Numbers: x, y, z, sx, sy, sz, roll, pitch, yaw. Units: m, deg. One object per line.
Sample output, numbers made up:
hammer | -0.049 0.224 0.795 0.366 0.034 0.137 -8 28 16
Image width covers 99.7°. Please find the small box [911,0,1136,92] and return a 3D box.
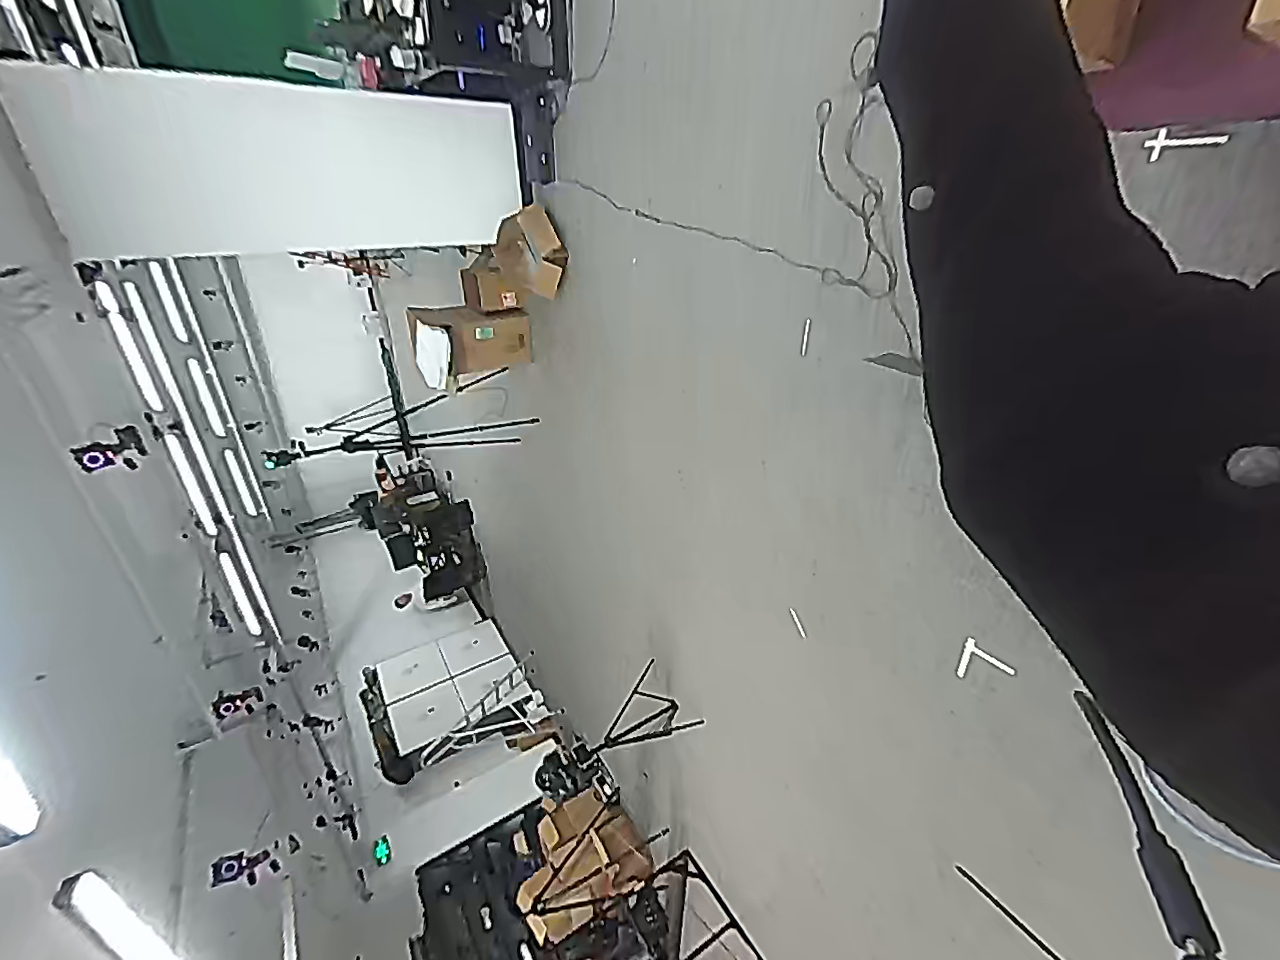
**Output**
small box | 0.469 -0.590 0.654 0.179 0.176 0.168 30 130 50
